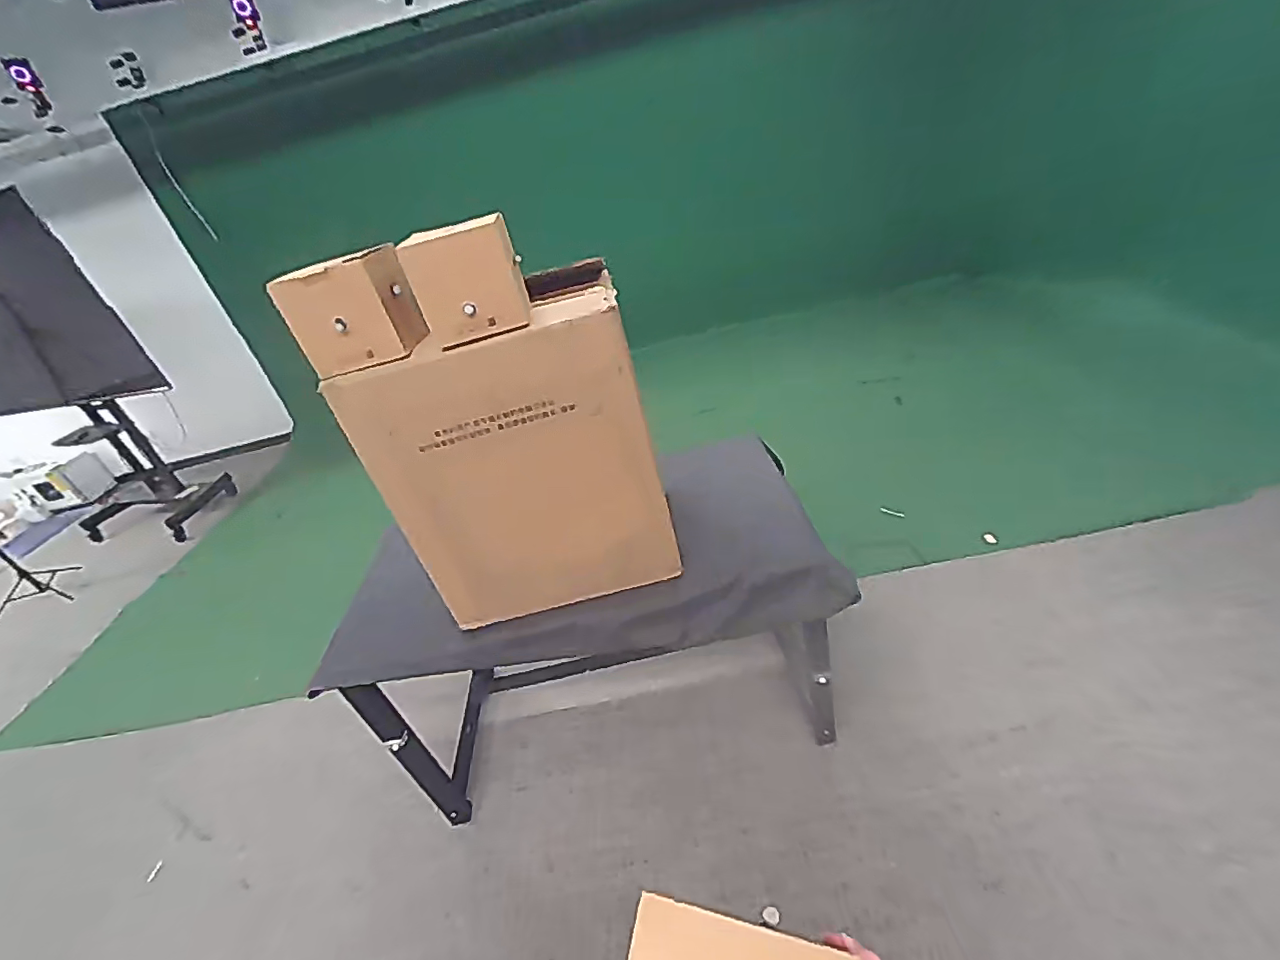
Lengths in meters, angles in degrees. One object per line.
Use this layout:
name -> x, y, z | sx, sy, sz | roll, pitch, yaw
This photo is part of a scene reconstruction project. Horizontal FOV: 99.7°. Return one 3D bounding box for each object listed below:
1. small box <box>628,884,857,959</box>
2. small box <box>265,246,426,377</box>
small box -> 0.076, 0.447, 0.420 | 0.168, 0.176, 0.179 | 3, 50, 17
small box -> -0.512, -0.300, 0.974 | 0.168, 0.176, 0.179 | -14, 32, 3
